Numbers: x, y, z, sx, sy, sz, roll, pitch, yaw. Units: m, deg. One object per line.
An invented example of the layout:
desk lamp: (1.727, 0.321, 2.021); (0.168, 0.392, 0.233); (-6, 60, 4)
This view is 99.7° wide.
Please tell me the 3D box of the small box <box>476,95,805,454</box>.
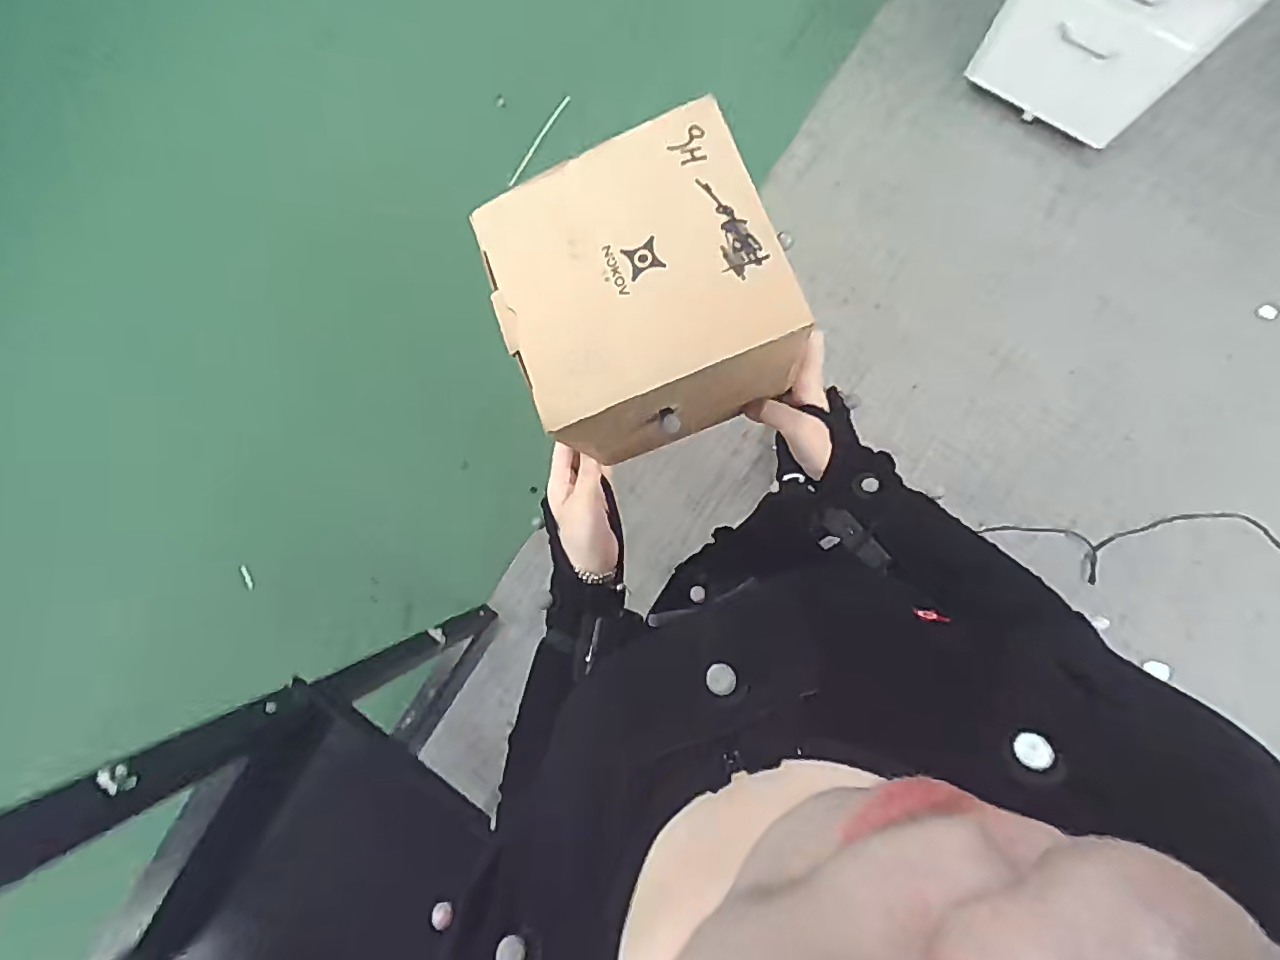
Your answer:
small box: (0.008, -0.130, 0.418); (0.179, 0.176, 0.168); (-21, 81, 8)
